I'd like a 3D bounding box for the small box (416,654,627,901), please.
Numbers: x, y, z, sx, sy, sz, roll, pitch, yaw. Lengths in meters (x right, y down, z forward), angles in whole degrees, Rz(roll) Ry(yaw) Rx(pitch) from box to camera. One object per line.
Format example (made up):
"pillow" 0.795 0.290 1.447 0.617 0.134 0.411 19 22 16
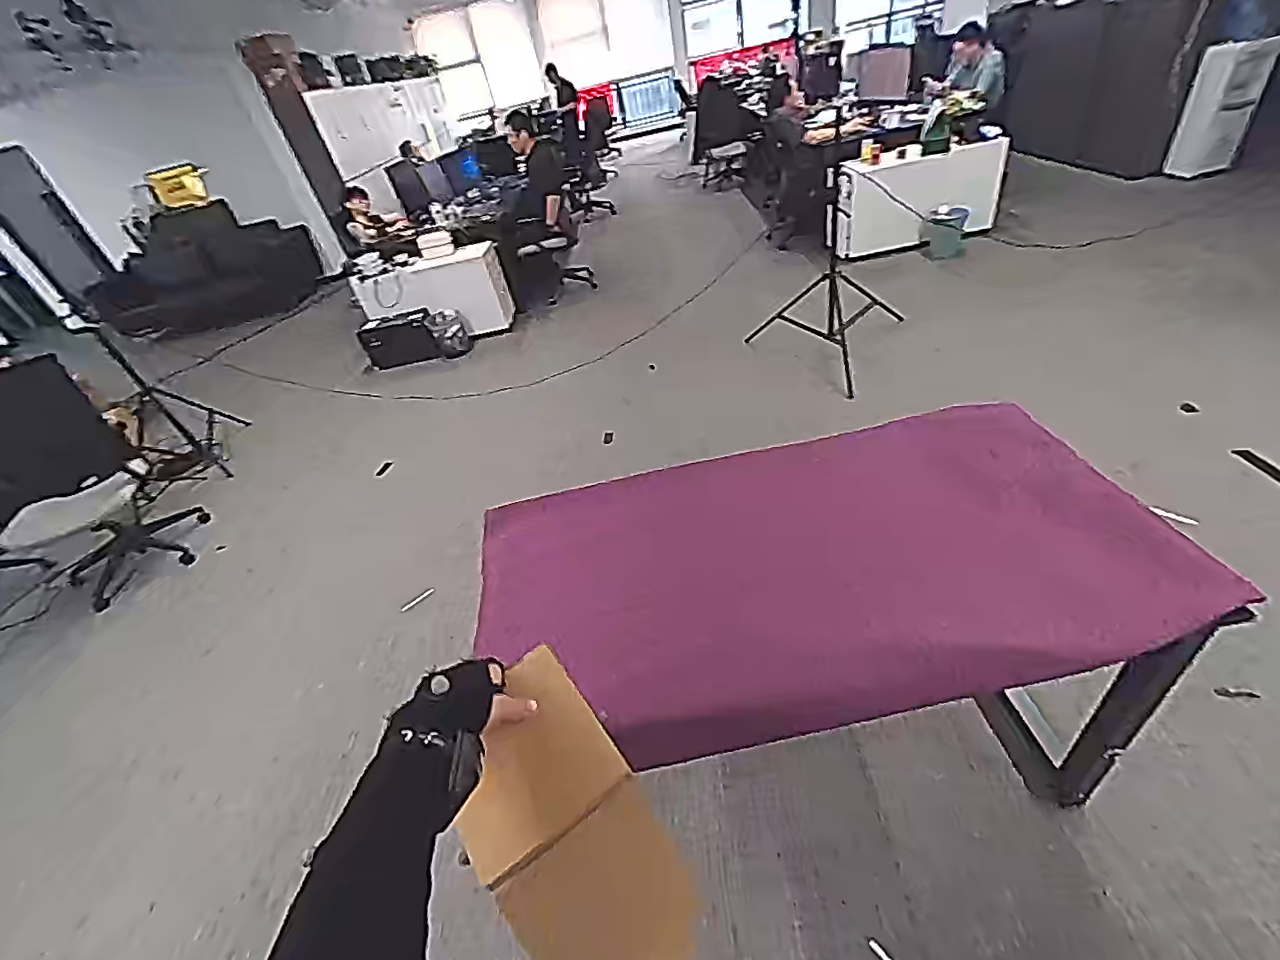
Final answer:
"small box" -0.130 0.342 0.630 0.168 0.176 0.179 -27 59 -23
